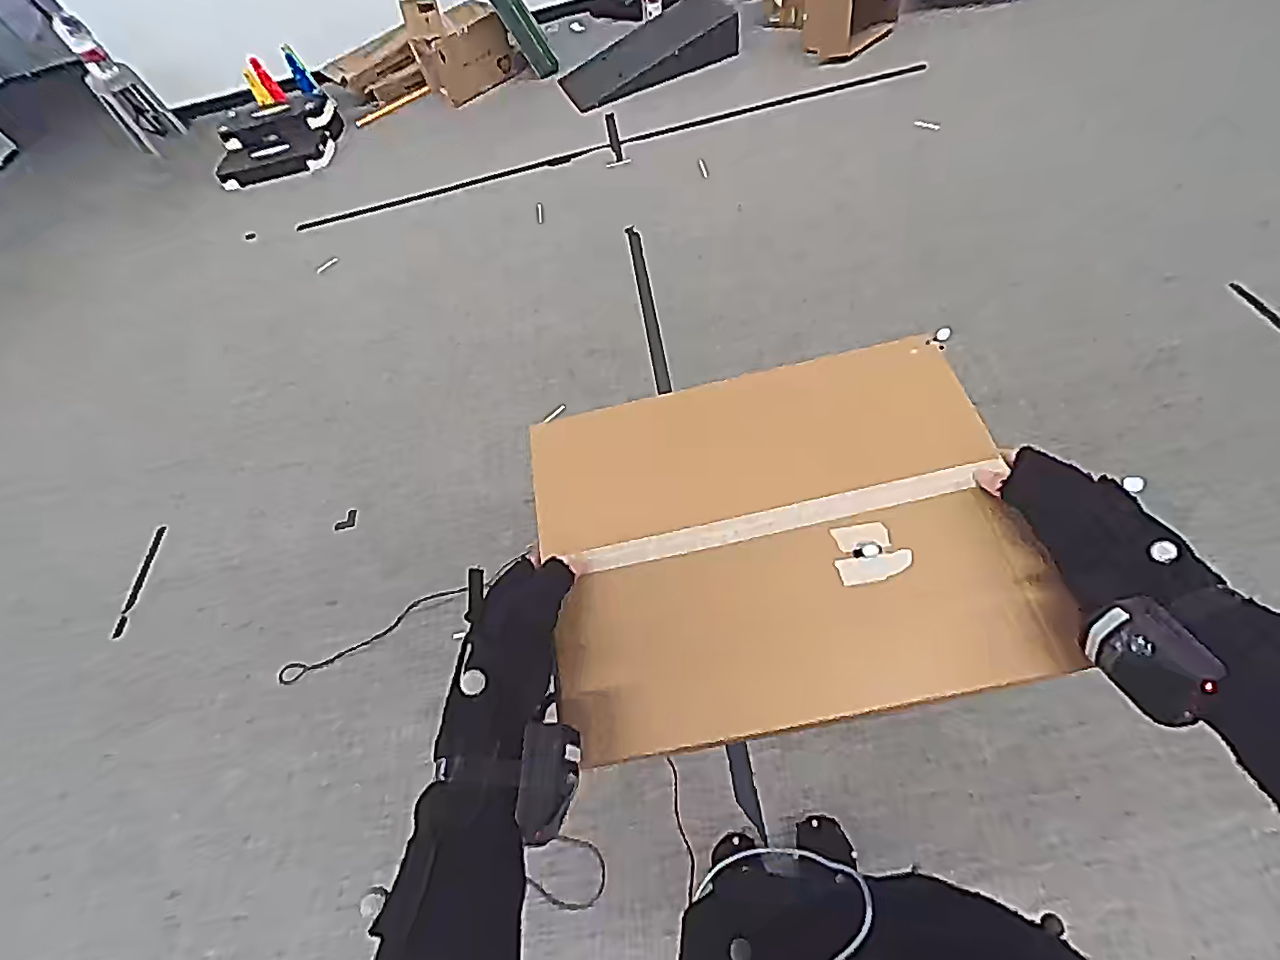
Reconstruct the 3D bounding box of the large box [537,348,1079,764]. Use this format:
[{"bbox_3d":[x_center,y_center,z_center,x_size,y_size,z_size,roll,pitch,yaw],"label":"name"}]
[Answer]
[{"bbox_3d":[0.132,0.109,0.612,0.408,0.320,0.320,-13,63,2],"label":"large box"}]
